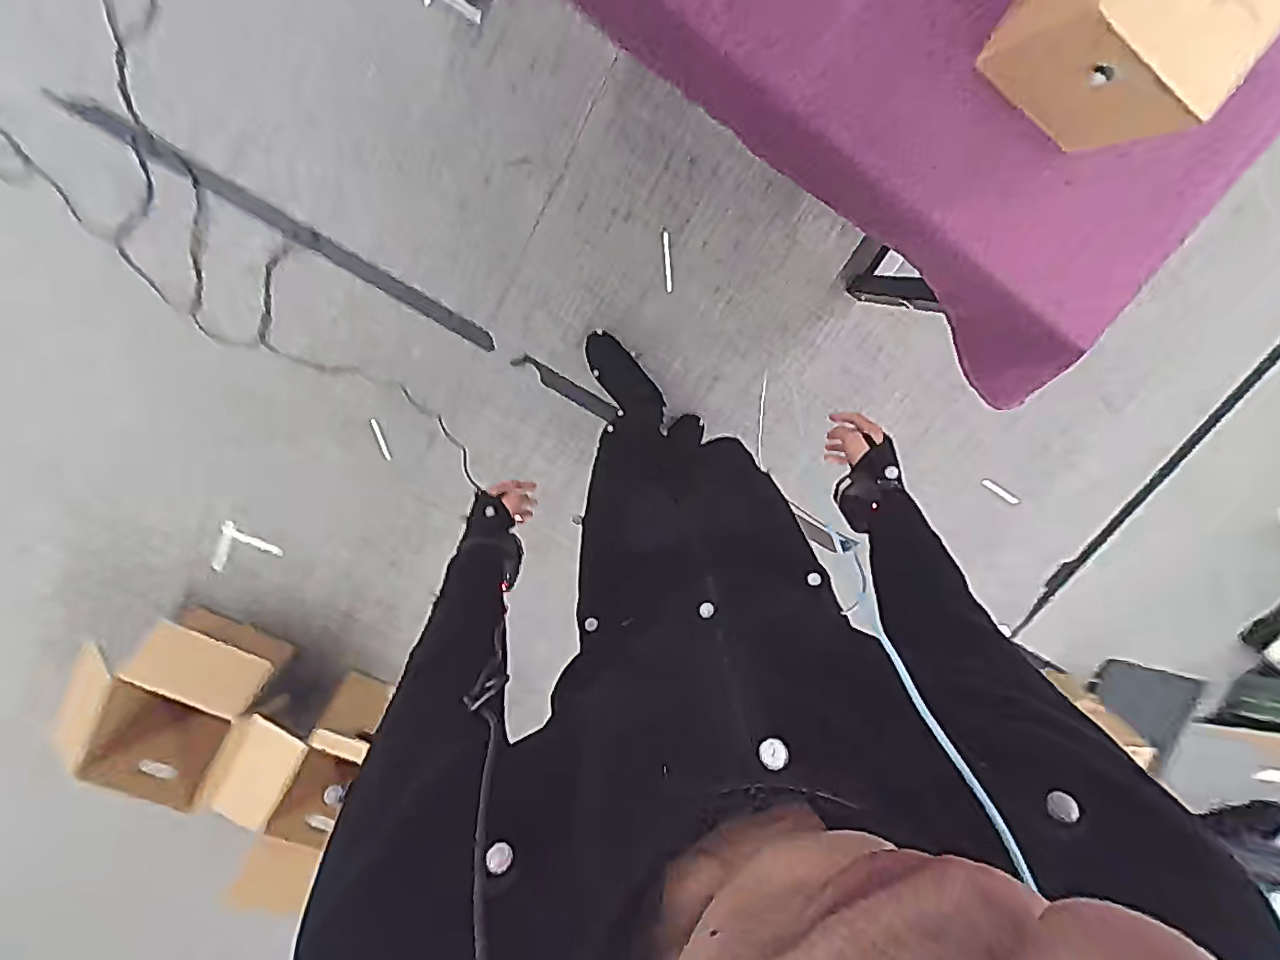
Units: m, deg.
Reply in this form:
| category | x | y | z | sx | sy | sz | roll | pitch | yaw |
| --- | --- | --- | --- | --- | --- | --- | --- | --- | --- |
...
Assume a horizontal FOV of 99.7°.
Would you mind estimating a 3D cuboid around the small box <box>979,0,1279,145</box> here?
| category | x | y | z | sx | sy | sz | roll | pitch | yaw |
| --- | --- | --- | --- | --- | --- | --- | --- | --- | --- |
| small box | 0.509 | -0.485 | 0.562 | 0.179 | 0.176 | 0.168 | 28 | 107 | -15 |
